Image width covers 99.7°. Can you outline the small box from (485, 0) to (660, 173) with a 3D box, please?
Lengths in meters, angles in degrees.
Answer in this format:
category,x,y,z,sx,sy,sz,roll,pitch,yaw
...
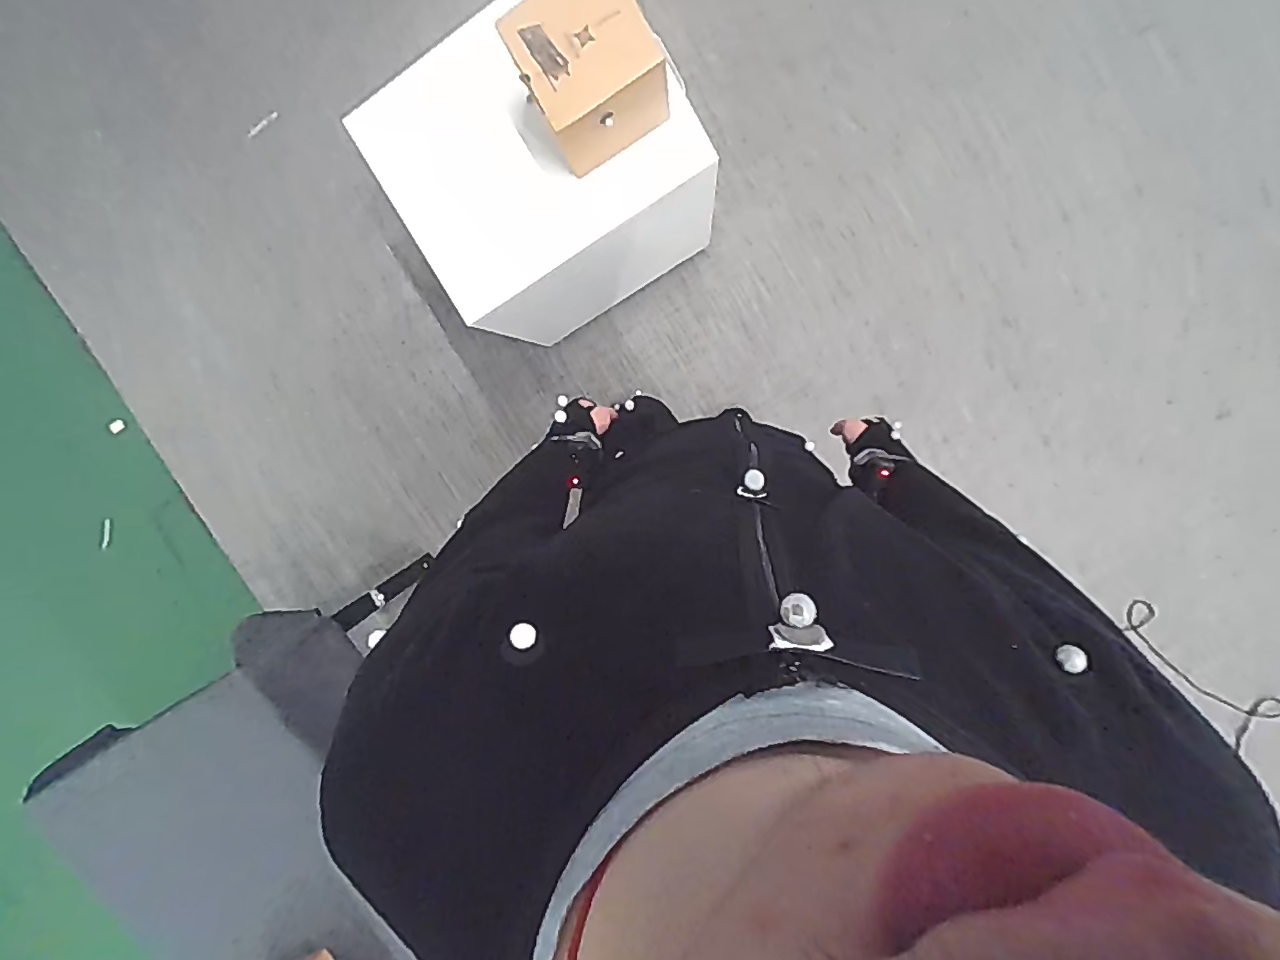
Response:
category,x,y,z,sx,sy,sz,roll,pitch,yaw
small box,-0.082,-0.581,0.769,0.179,0.176,0.168,-30,97,7
